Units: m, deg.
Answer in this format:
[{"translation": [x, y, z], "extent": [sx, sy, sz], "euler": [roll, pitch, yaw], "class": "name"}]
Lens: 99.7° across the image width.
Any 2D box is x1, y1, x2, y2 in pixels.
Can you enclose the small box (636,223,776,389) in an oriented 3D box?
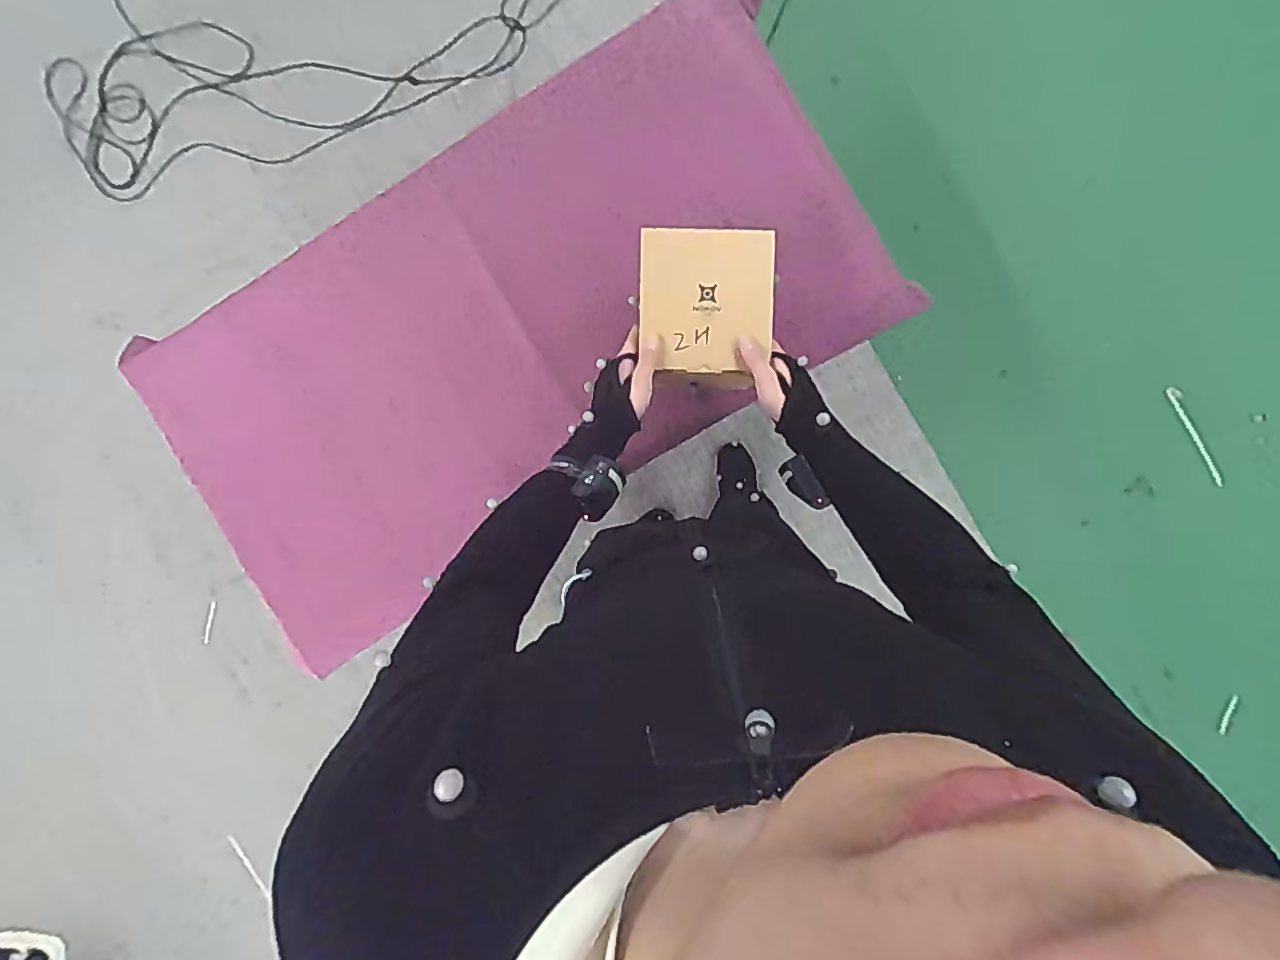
[{"translation": [0.080, -0.226, 0.738], "extent": [0.168, 0.176, 0.179], "euler": [2, 93, 1], "class": "small box"}]
